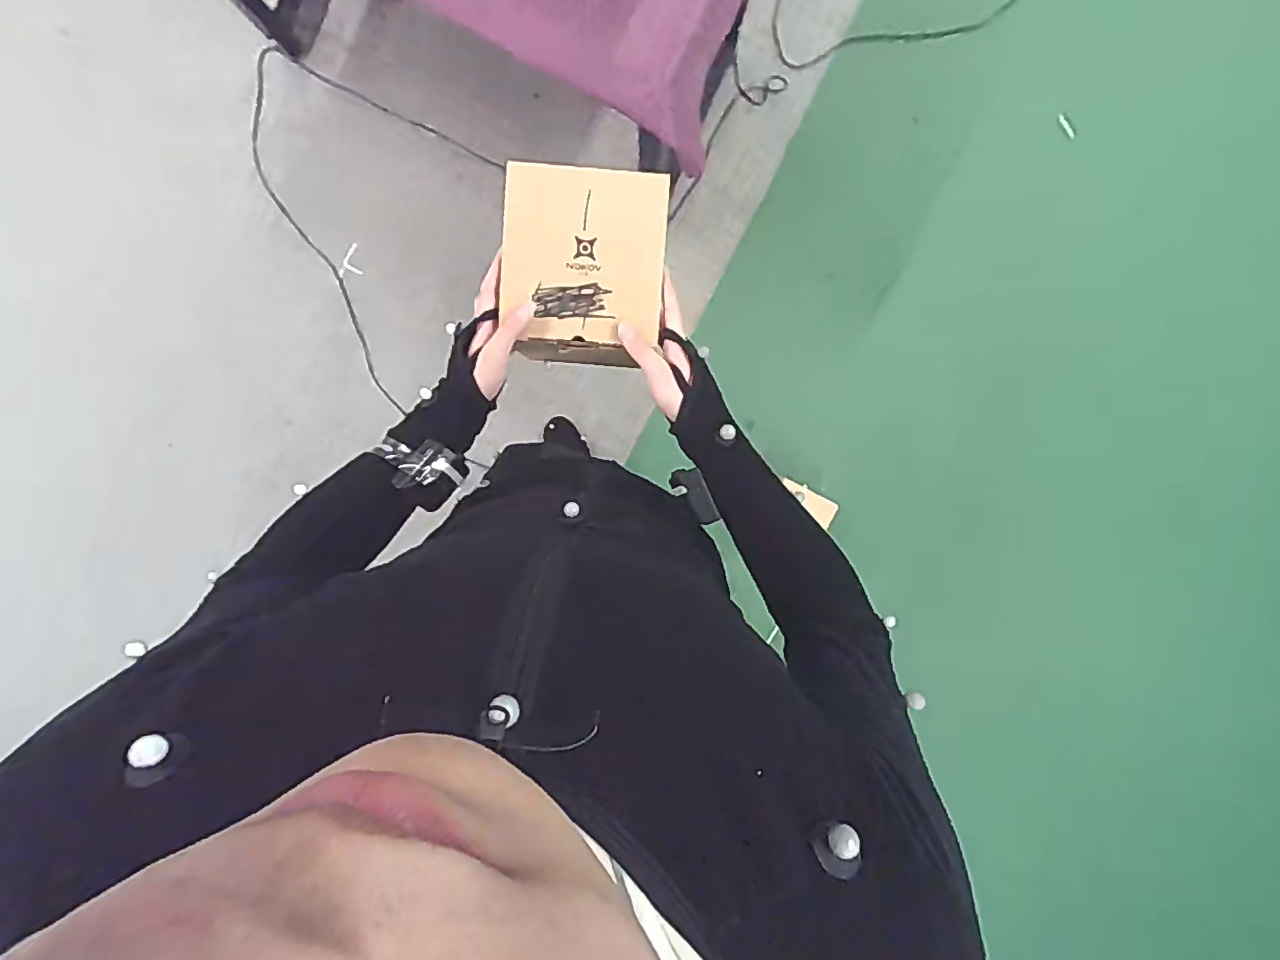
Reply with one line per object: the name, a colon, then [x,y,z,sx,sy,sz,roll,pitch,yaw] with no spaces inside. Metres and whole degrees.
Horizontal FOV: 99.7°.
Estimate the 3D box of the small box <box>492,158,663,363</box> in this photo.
small box: [-0.064,-0.233,0.620,0.168,0.176,0.179,3,95,-1]
